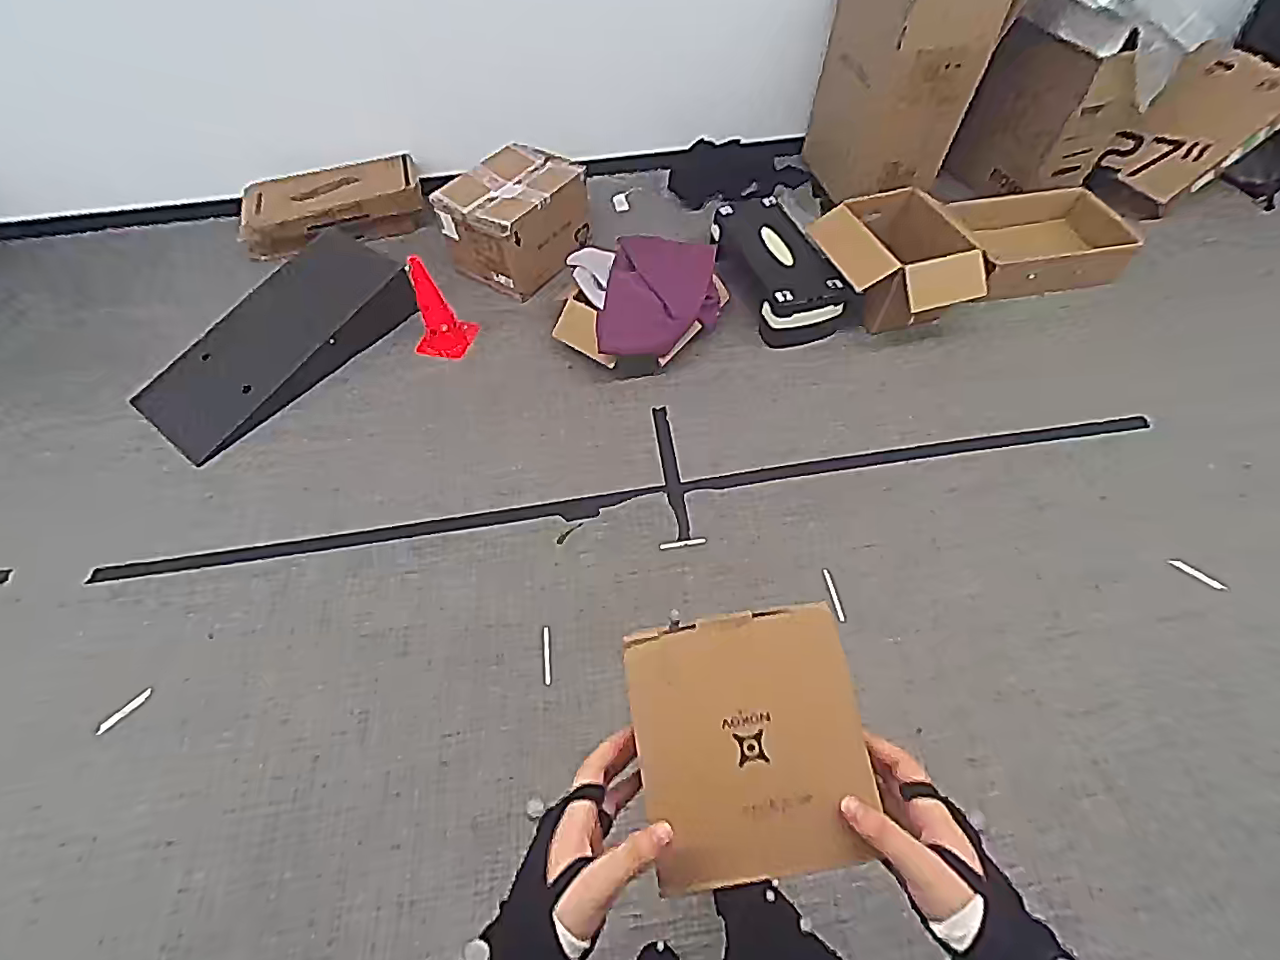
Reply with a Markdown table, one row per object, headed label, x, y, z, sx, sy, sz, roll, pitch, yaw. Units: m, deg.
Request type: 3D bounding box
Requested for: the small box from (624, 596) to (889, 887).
| label | x | y | z | sx | sy | sz | roll | pitch | yaw |
| --- | --- | --- | --- | --- | --- | --- | --- | --- | --- |
| small box | 0.082 | 0.206 | 0.471 | 0.168 | 0.176 | 0.179 | -10 | 76 | 0 |
